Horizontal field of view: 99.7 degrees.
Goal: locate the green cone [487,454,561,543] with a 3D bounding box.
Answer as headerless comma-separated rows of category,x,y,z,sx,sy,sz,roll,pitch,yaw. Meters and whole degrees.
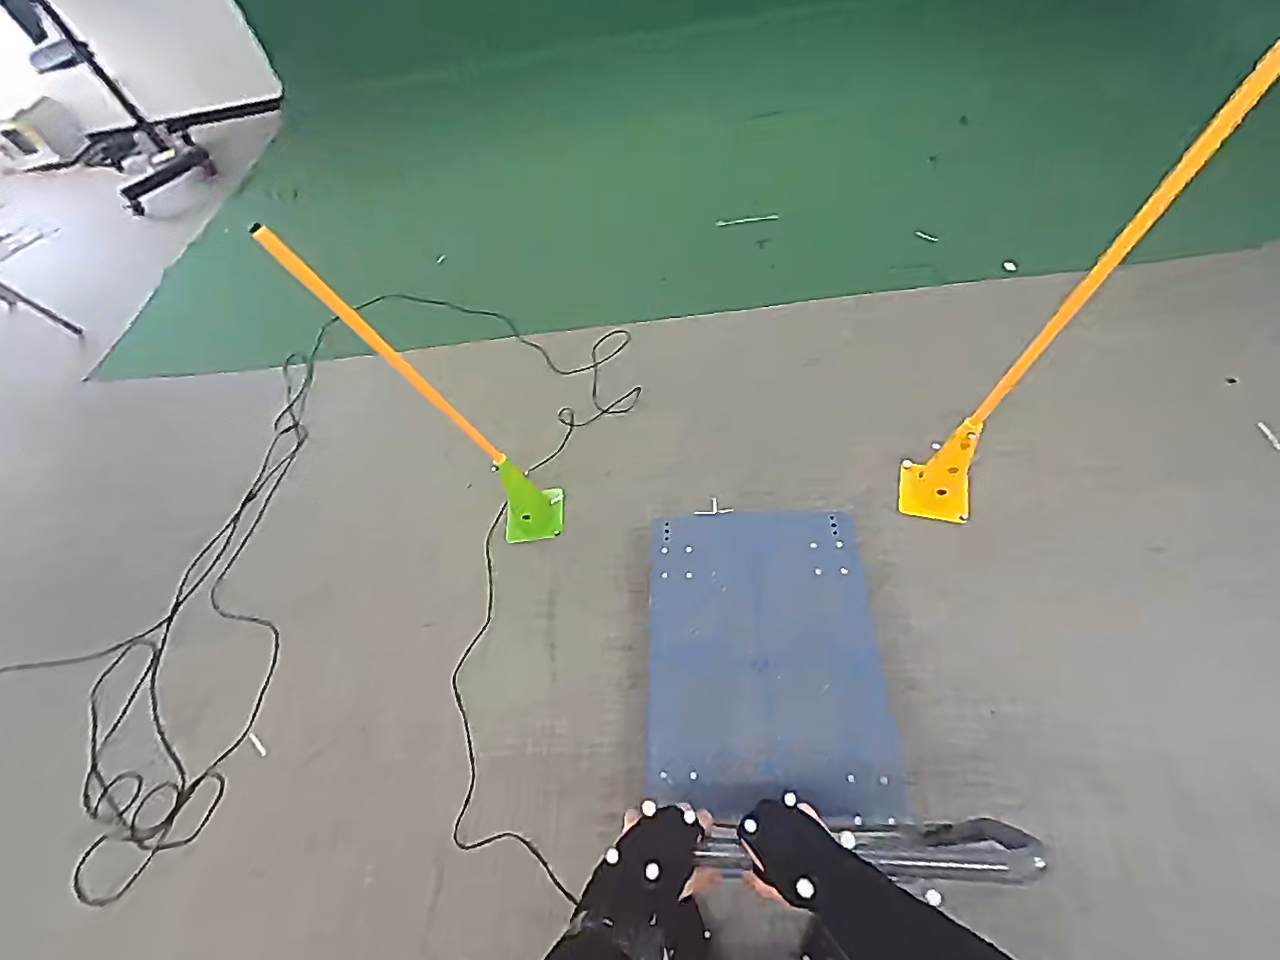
green cone,-0.406,0.030,1.769,0.202,0.368,0.200,-9,56,6
